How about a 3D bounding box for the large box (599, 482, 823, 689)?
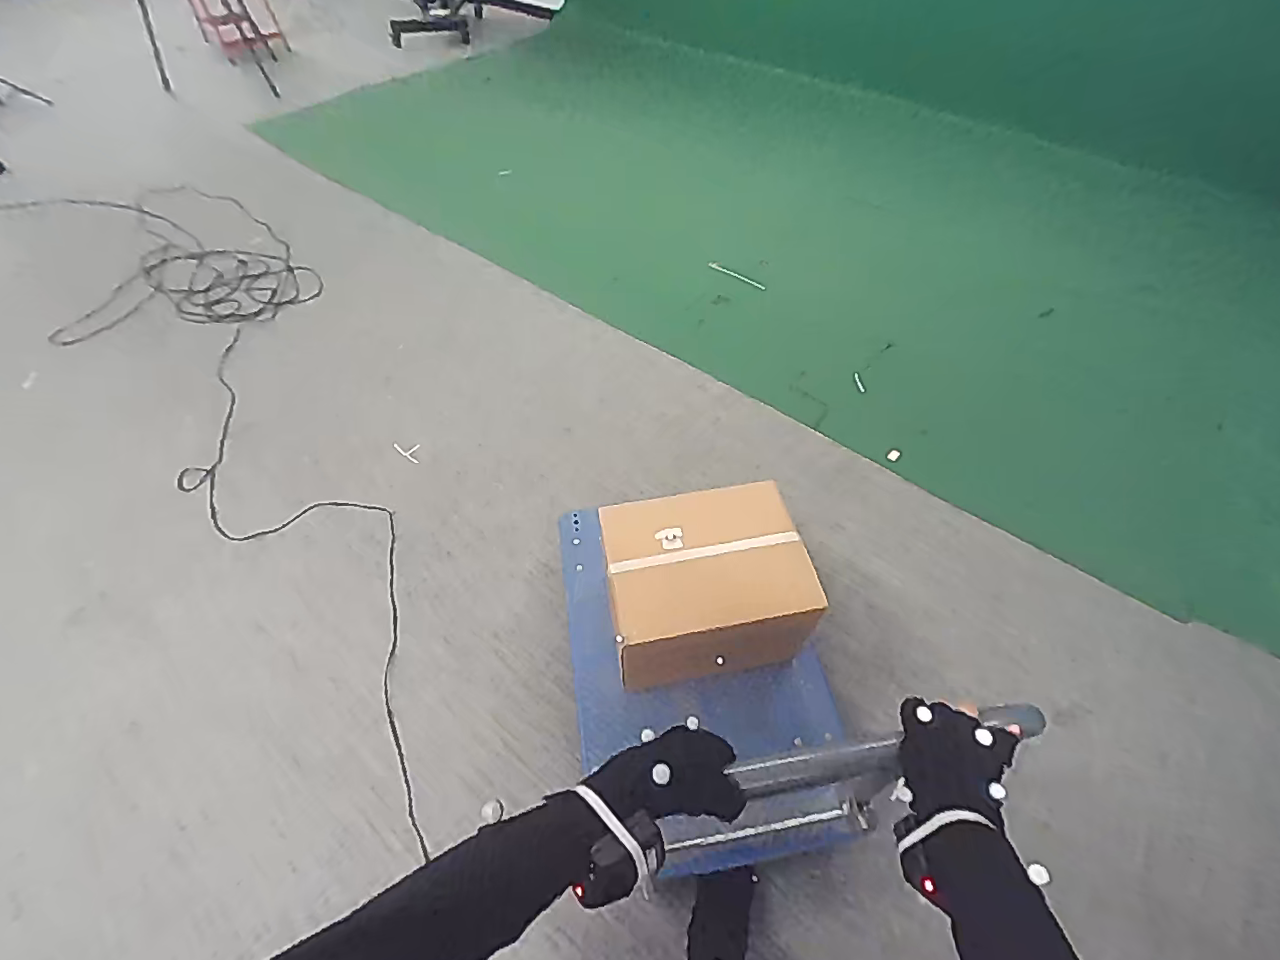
[{"bbox_3d":[0.136,0.245,1.232,0.408,0.320,0.320,-9,54,-7],"label":"large box"}]
